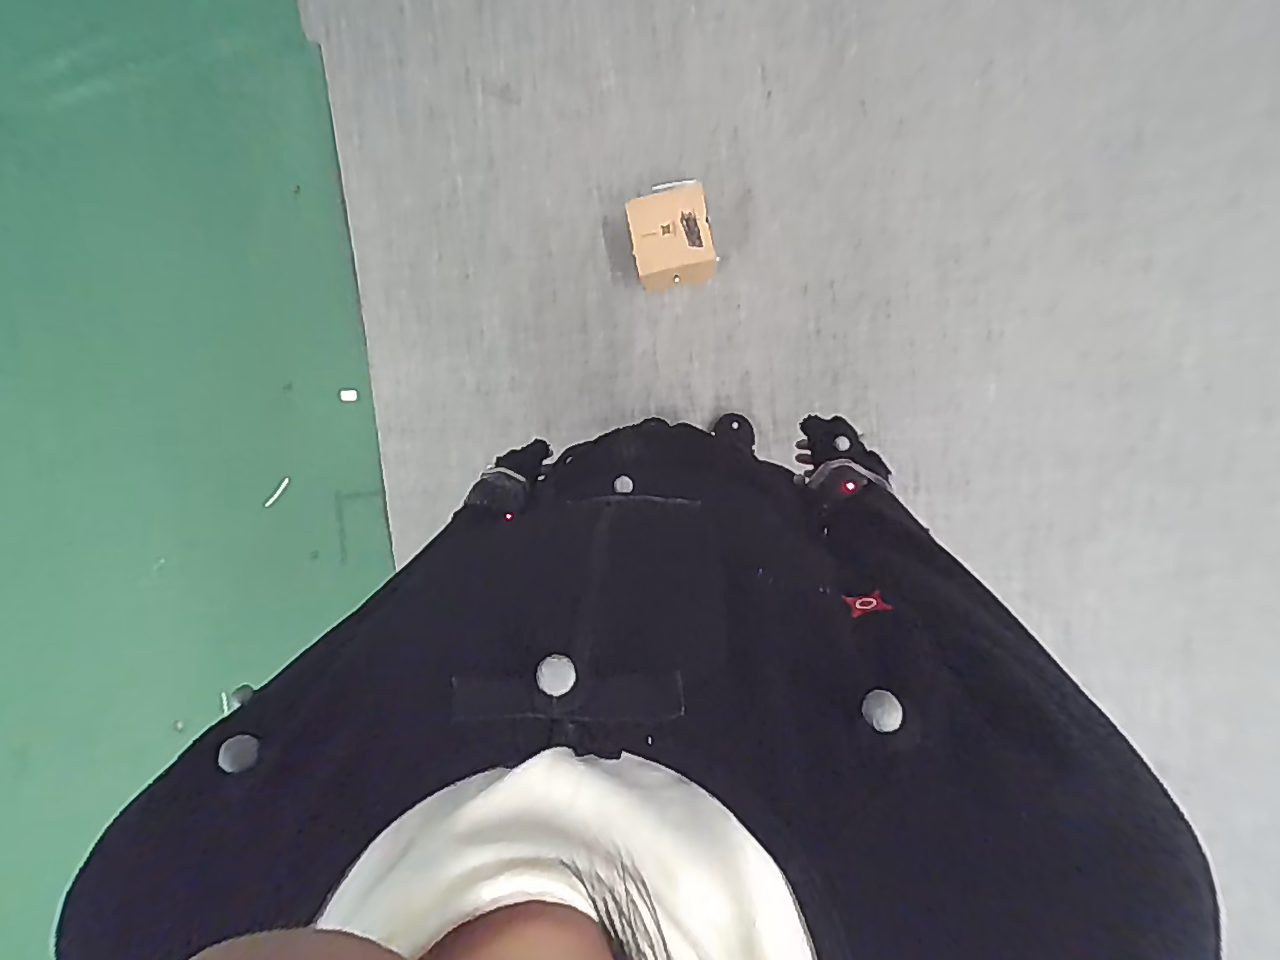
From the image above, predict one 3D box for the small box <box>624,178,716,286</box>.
[{"bbox_3d":[0.075,-0.573,1.271,0.179,0.176,0.168,-14,96,9],"label":"small box"}]
